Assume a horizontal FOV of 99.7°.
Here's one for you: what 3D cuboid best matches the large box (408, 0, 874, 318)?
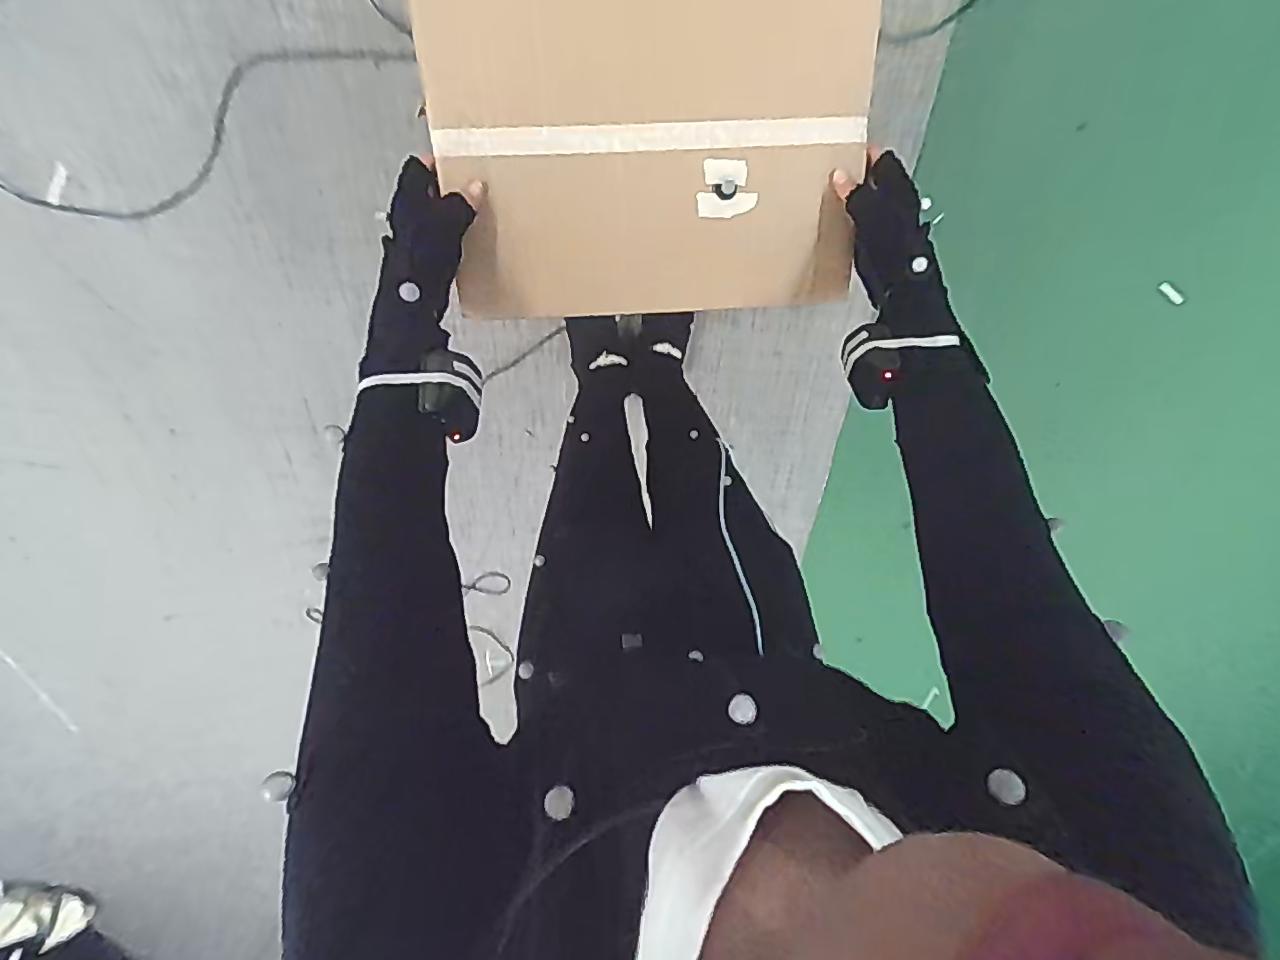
[{"bbox_3d":[-0.004,-0.380,0.632,0.408,0.320,0.320,-4,115,-4],"label":"large box"}]
